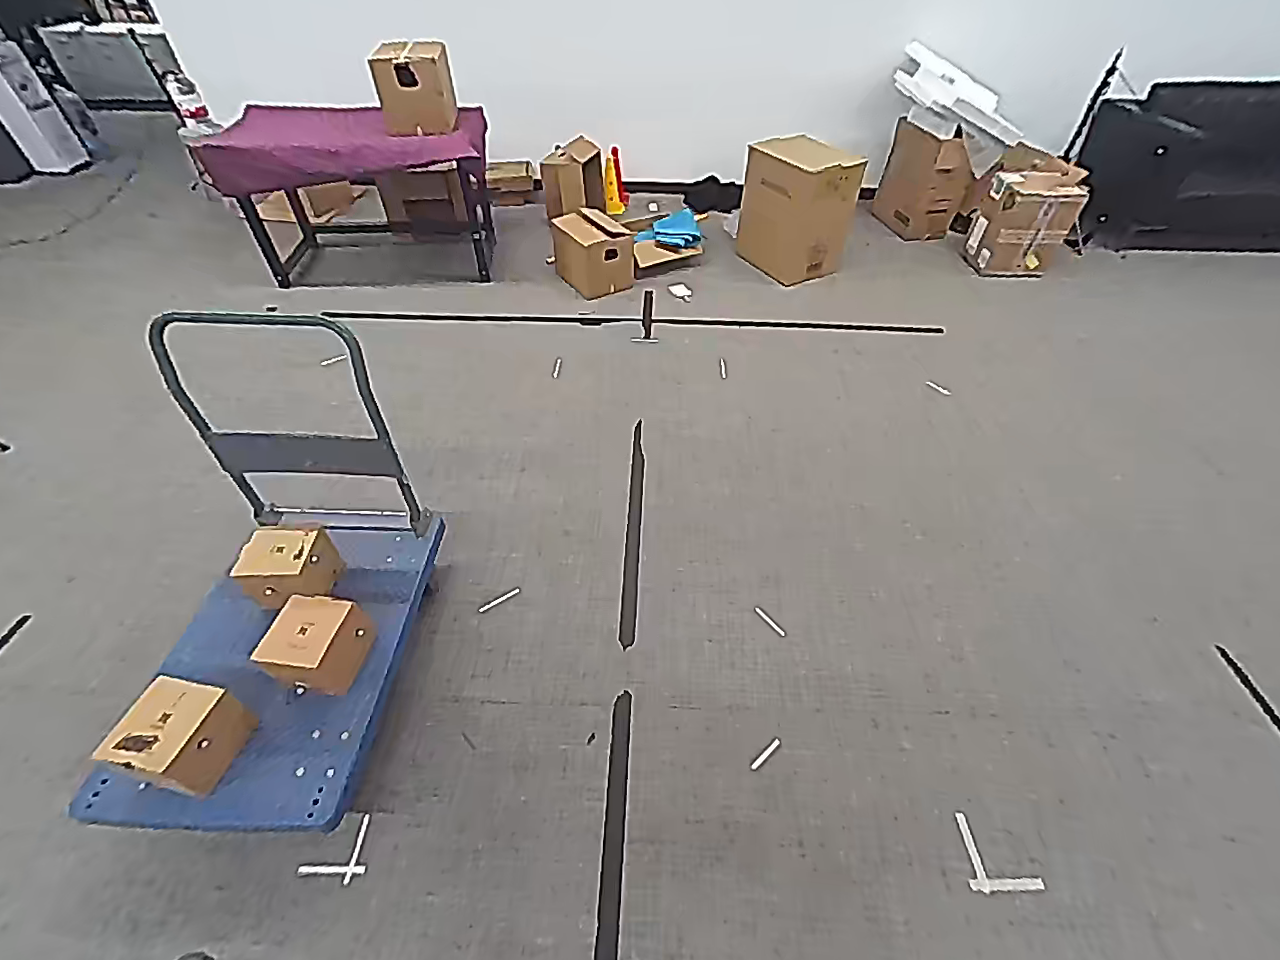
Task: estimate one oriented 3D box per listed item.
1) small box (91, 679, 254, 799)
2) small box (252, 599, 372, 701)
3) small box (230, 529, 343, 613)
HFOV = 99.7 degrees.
[{"bbox_3d":[-1.000,0.569,1.180,0.168,0.176,0.179,9,45,7],"label":"small box"},{"bbox_3d":[-0.794,0.420,1.336,0.168,0.176,0.179,5,47,6],"label":"small box"},{"bbox_3d":[-0.964,0.254,1.493,0.179,0.176,0.168,-2,46,-2],"label":"small box"}]
